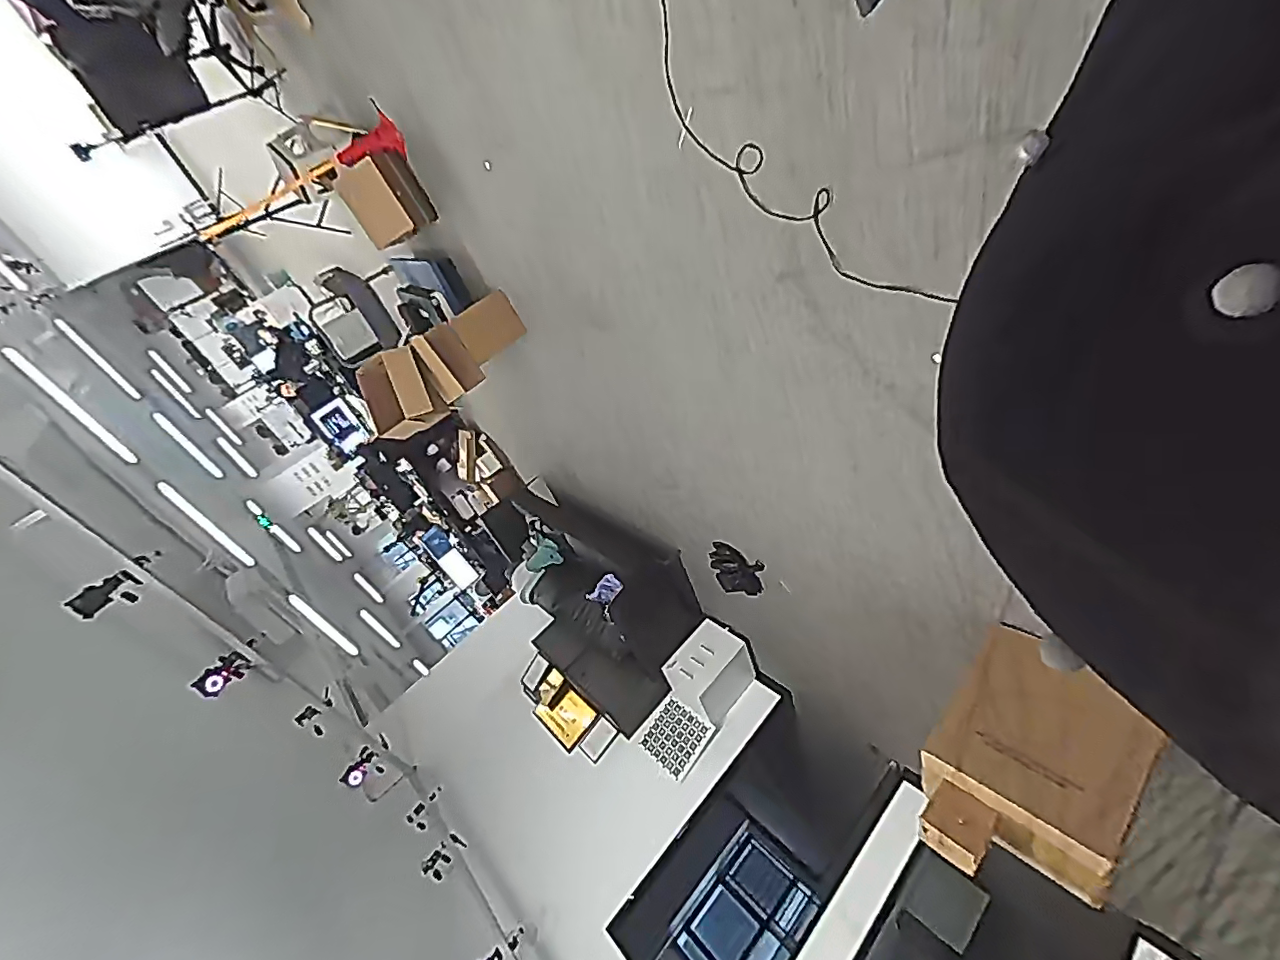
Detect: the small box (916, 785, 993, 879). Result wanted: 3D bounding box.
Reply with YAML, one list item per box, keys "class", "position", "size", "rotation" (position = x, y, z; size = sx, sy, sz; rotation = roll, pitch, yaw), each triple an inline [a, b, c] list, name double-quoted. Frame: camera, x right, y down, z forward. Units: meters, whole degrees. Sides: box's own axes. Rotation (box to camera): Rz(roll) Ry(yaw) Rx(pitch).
- class: "small box"
  position: [1.048, 1.164, 1.801]
  size: [0.179, 0.176, 0.168]
  rotation: [22, 140, 44]
